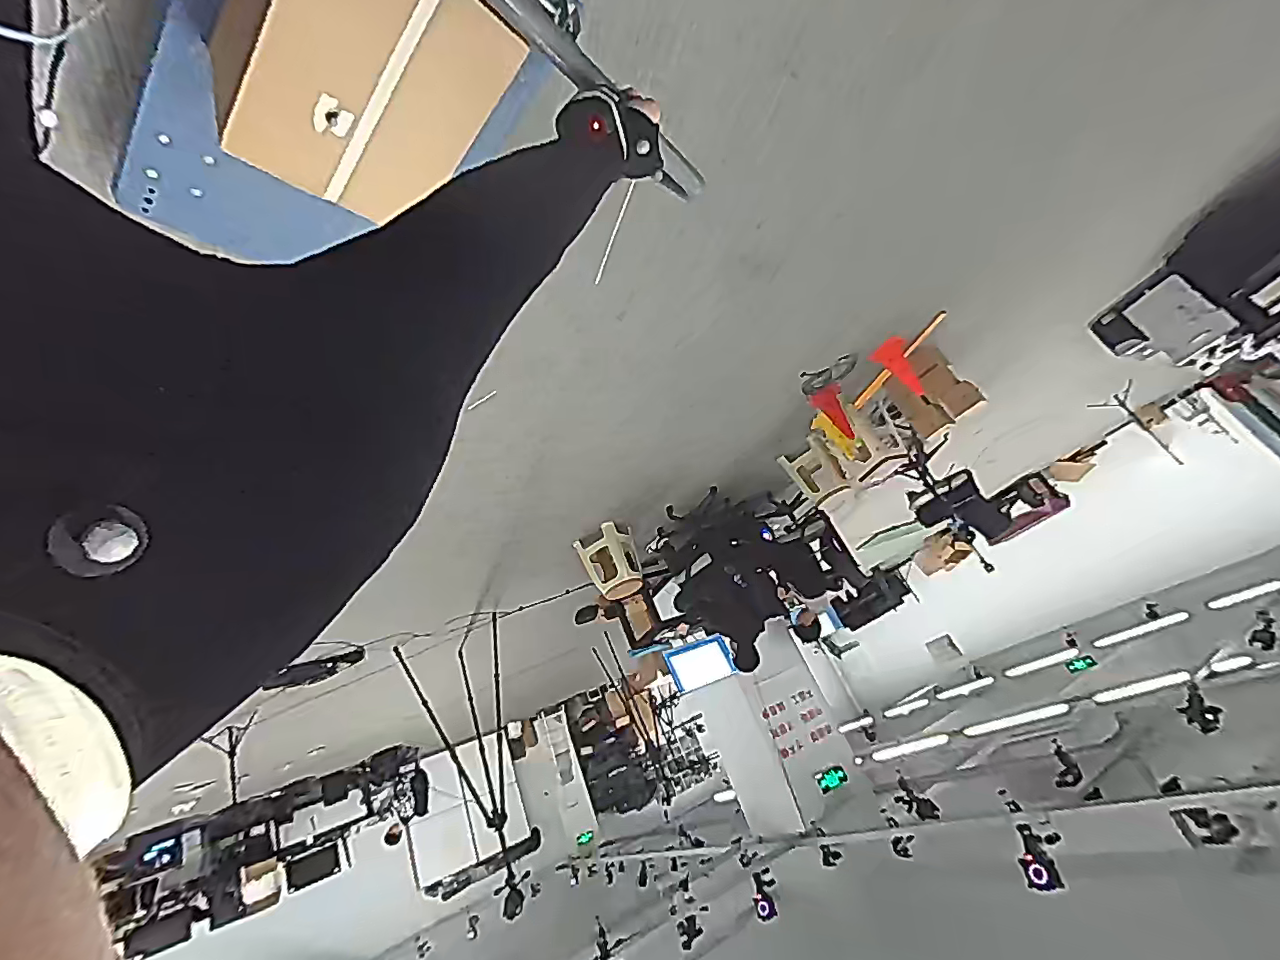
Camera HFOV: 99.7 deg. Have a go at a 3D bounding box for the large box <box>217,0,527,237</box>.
[{"bbox_3d":[-0.462,-0.725,0.914,0.408,0.320,0.320,-39,151,28],"label":"large box"}]
